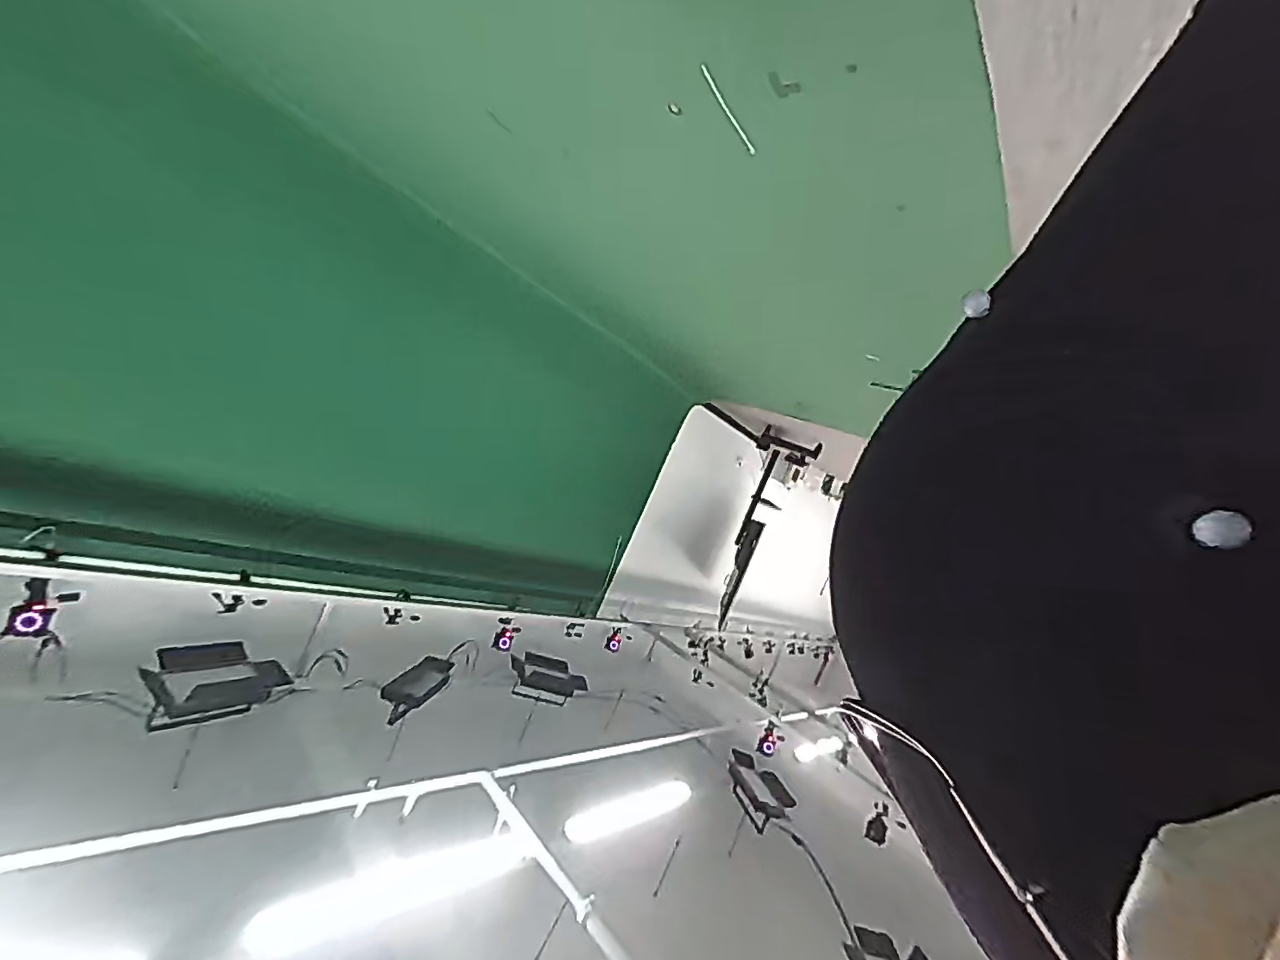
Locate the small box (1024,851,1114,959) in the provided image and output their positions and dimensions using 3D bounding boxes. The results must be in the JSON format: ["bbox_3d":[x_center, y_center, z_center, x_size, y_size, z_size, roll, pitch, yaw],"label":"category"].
[{"bbox_3d":[1.324,1.307,1.672,0.179,0.176,0.168,26,-177,40],"label":"small box"}]
